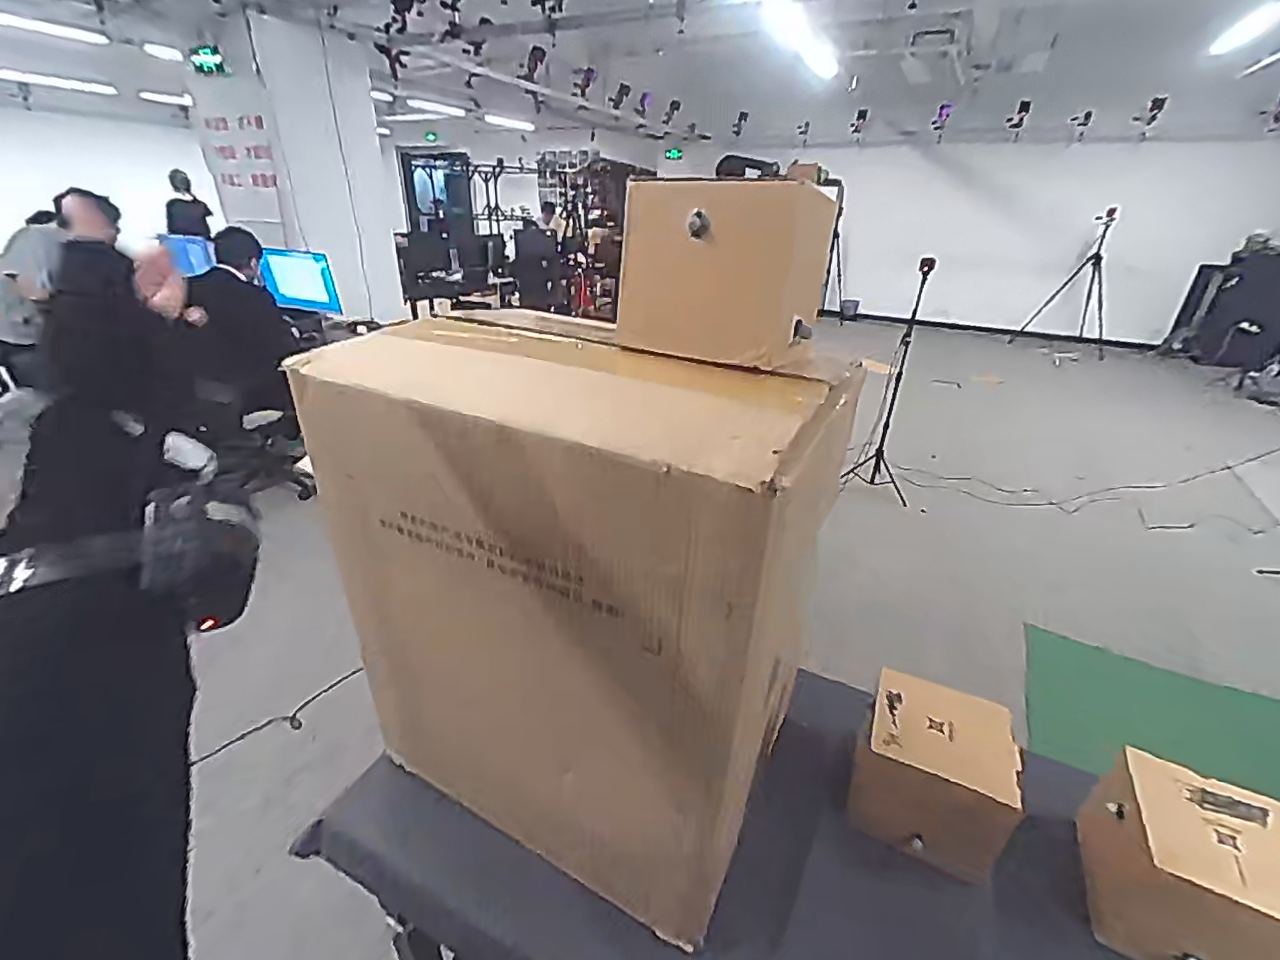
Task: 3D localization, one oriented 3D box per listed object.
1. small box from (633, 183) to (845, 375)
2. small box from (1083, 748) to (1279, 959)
[{"bbox_3d":[0.105,-0.217,0.596,0.179,0.176,0.168,17,25,24],"label":"small box"},{"bbox_3d":[0.682,0.484,0.665,0.168,0.176,0.179,15,30,26],"label":"small box"}]
